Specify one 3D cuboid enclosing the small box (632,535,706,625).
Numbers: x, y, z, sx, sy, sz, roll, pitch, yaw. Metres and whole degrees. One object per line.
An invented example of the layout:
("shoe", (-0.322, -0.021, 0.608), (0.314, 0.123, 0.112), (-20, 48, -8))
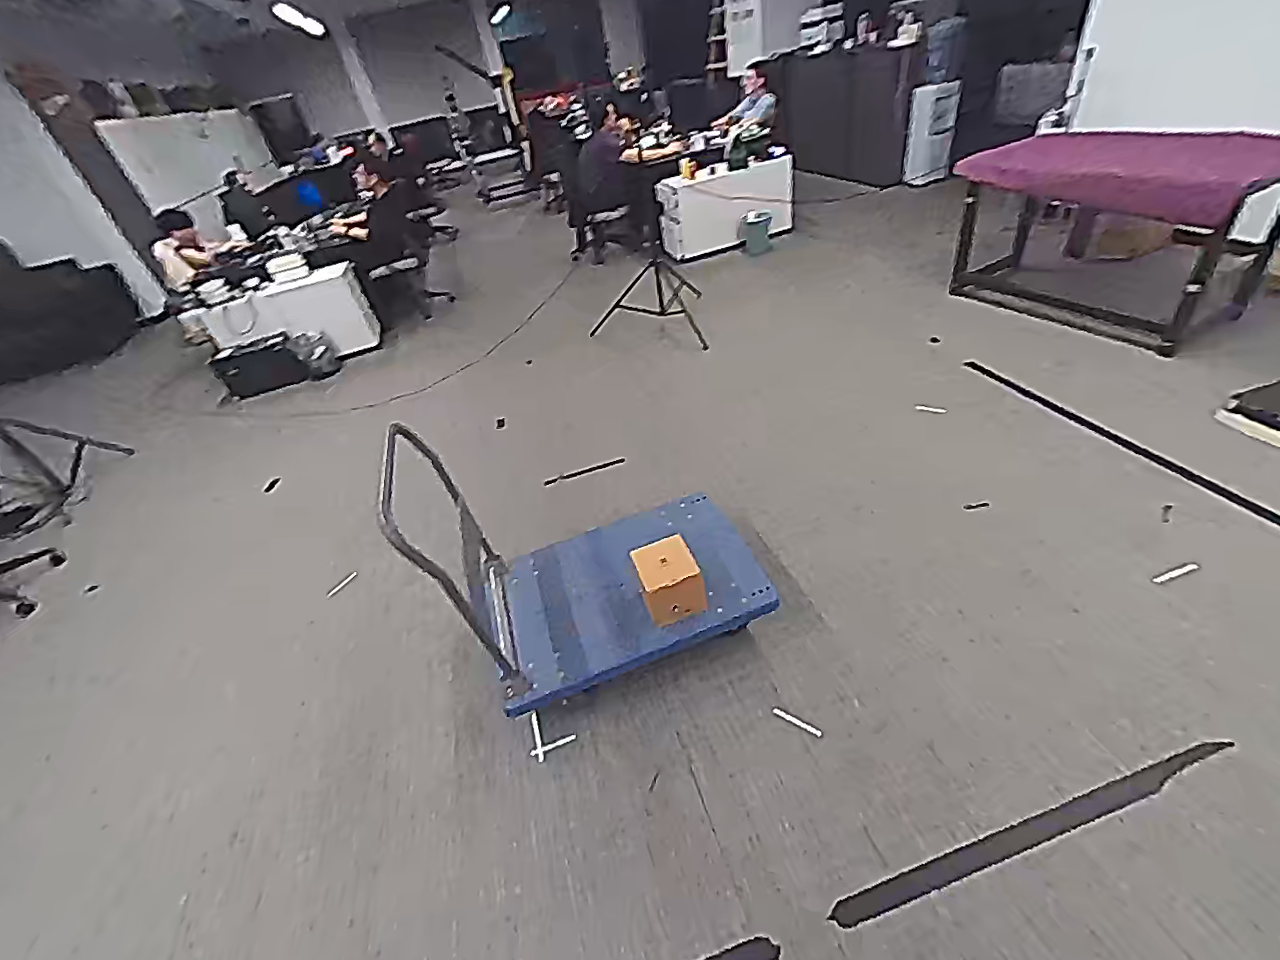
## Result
("small box", (0.088, 0.304, 1.635), (0.168, 0.176, 0.179), (-20, 39, -8))
